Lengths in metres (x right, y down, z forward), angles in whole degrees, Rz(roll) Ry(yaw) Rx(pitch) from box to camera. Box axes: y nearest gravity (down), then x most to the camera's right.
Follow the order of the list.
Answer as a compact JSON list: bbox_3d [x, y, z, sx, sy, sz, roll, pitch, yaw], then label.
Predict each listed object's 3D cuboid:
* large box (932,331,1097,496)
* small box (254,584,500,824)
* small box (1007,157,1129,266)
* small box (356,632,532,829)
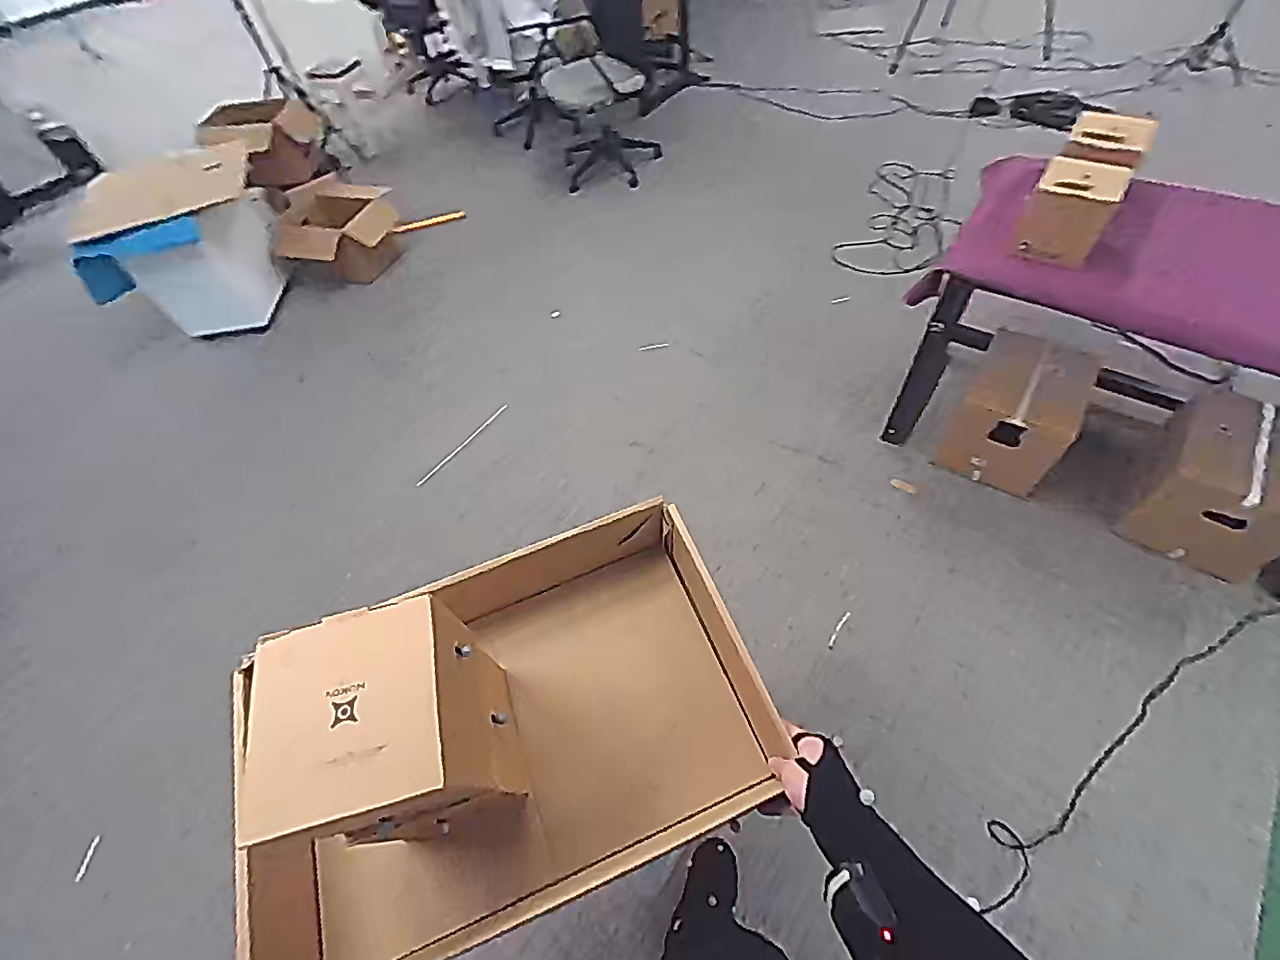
[{"bbox_3d":[1.237,-0.223,1.808,0.320,0.320,0.408,27,61,23],"label":"large box"},{"bbox_3d":[-0.250,0.232,0.554,0.168,0.176,0.179,-13,60,-6],"label":"small box"},{"bbox_3d":[1.038,-0.655,1.324,0.168,0.176,0.179,28,61,23],"label":"small box"},{"bbox_3d":[-0.246,0.321,0.691,0.168,0.176,0.179,-16,60,-9],"label":"small box"}]
